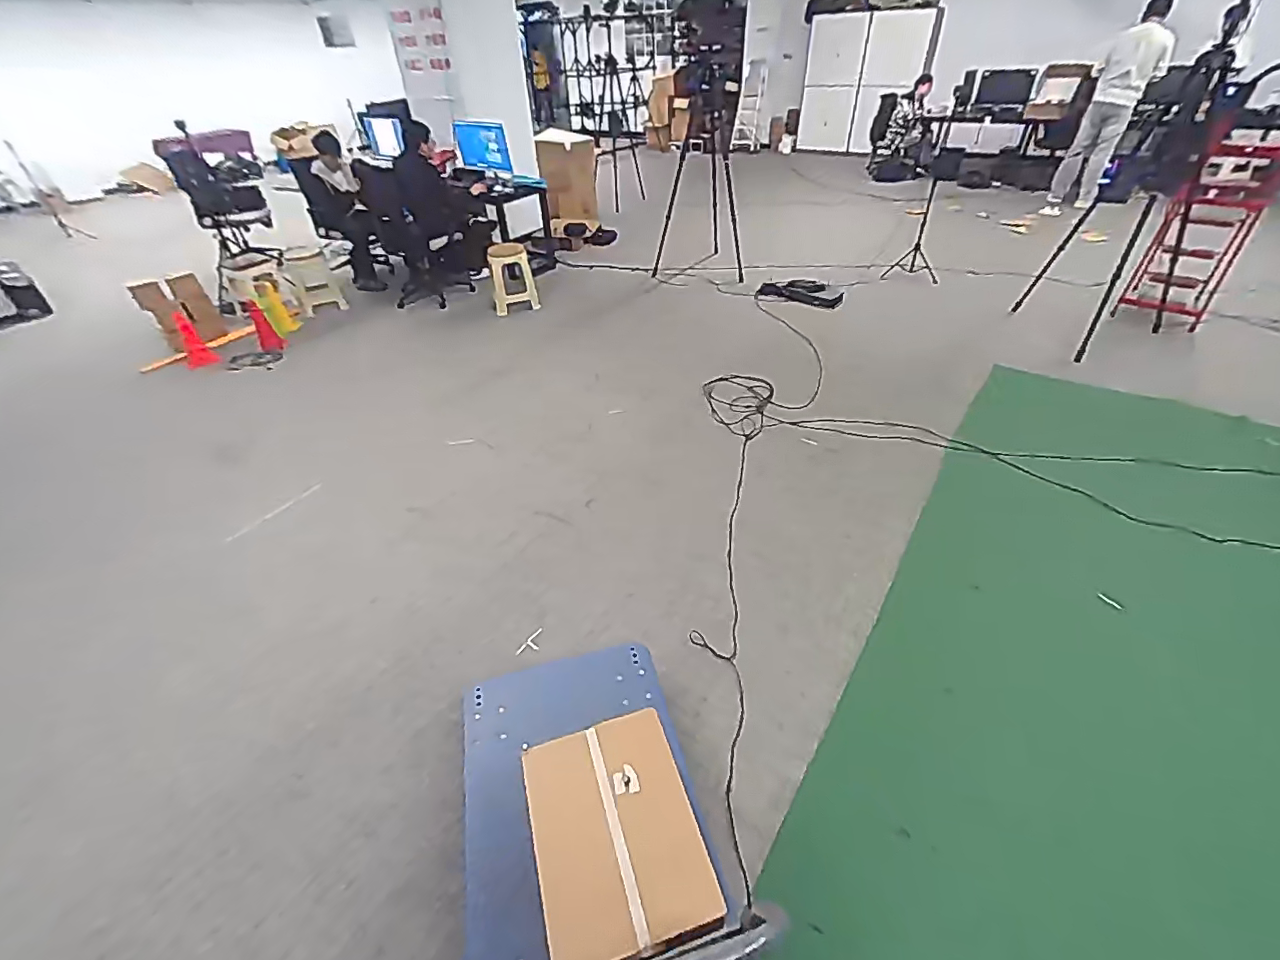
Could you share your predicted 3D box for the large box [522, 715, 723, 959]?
[{"bbox_3d":[-0.048,0.811,1.170,0.320,0.320,0.408,-12,39,-13],"label":"large box"}]
